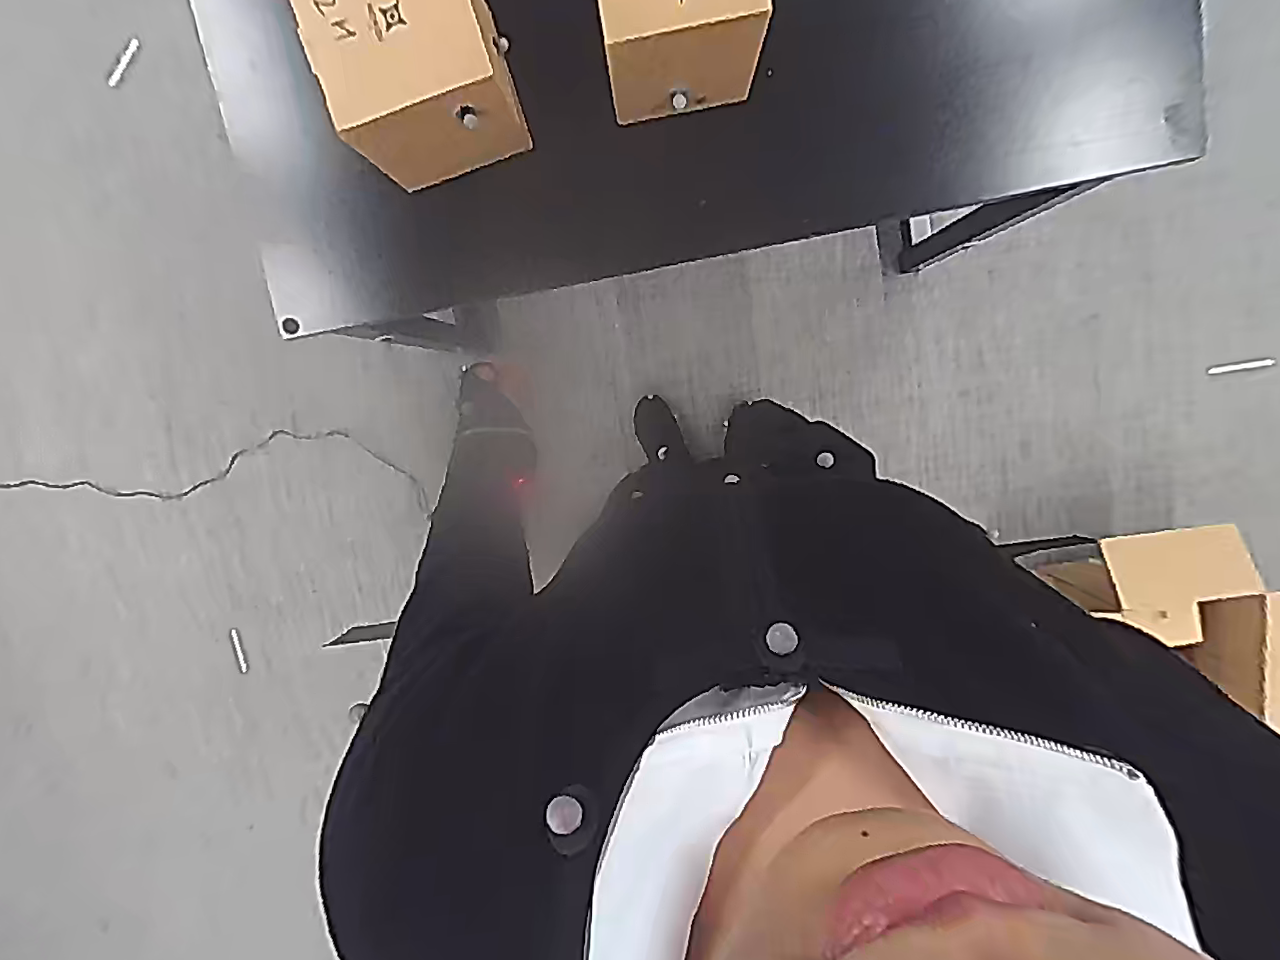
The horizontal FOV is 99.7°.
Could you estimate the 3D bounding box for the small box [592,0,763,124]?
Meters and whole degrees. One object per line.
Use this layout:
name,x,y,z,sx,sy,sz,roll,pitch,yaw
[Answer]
small box,0.030,-0.535,0.593,0.168,0.176,0.179,-9,100,4

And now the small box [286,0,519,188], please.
small box,-0.251,-0.467,0.616,0.179,0.176,0.168,-17,98,5
